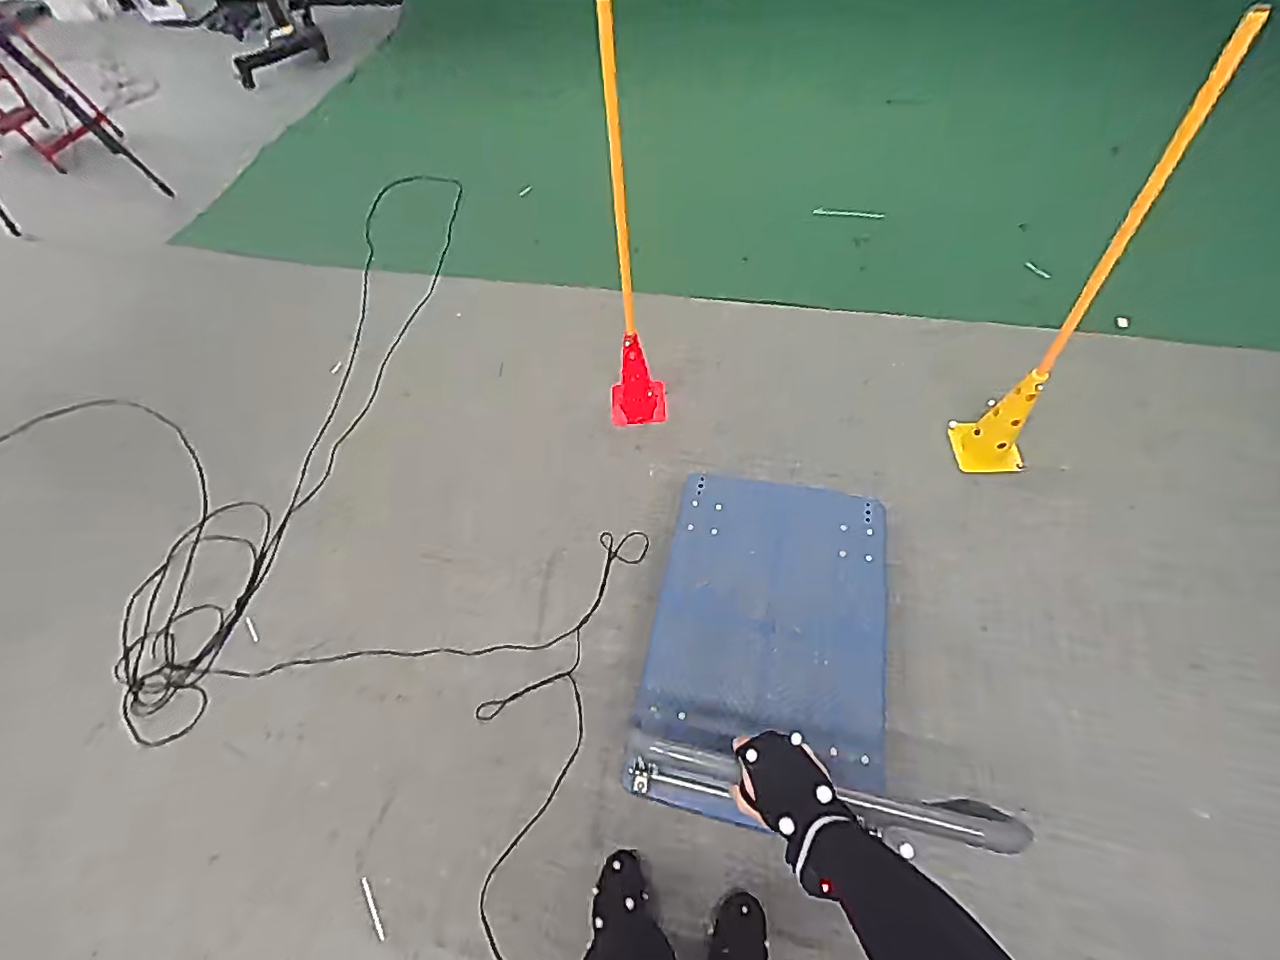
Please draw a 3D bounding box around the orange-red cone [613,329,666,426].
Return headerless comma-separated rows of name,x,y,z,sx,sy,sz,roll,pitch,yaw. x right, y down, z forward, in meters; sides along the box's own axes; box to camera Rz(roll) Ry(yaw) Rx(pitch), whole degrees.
orange-red cone,-0.021,-0.374,1.867,0.199,0.360,0.198,-5,58,4
